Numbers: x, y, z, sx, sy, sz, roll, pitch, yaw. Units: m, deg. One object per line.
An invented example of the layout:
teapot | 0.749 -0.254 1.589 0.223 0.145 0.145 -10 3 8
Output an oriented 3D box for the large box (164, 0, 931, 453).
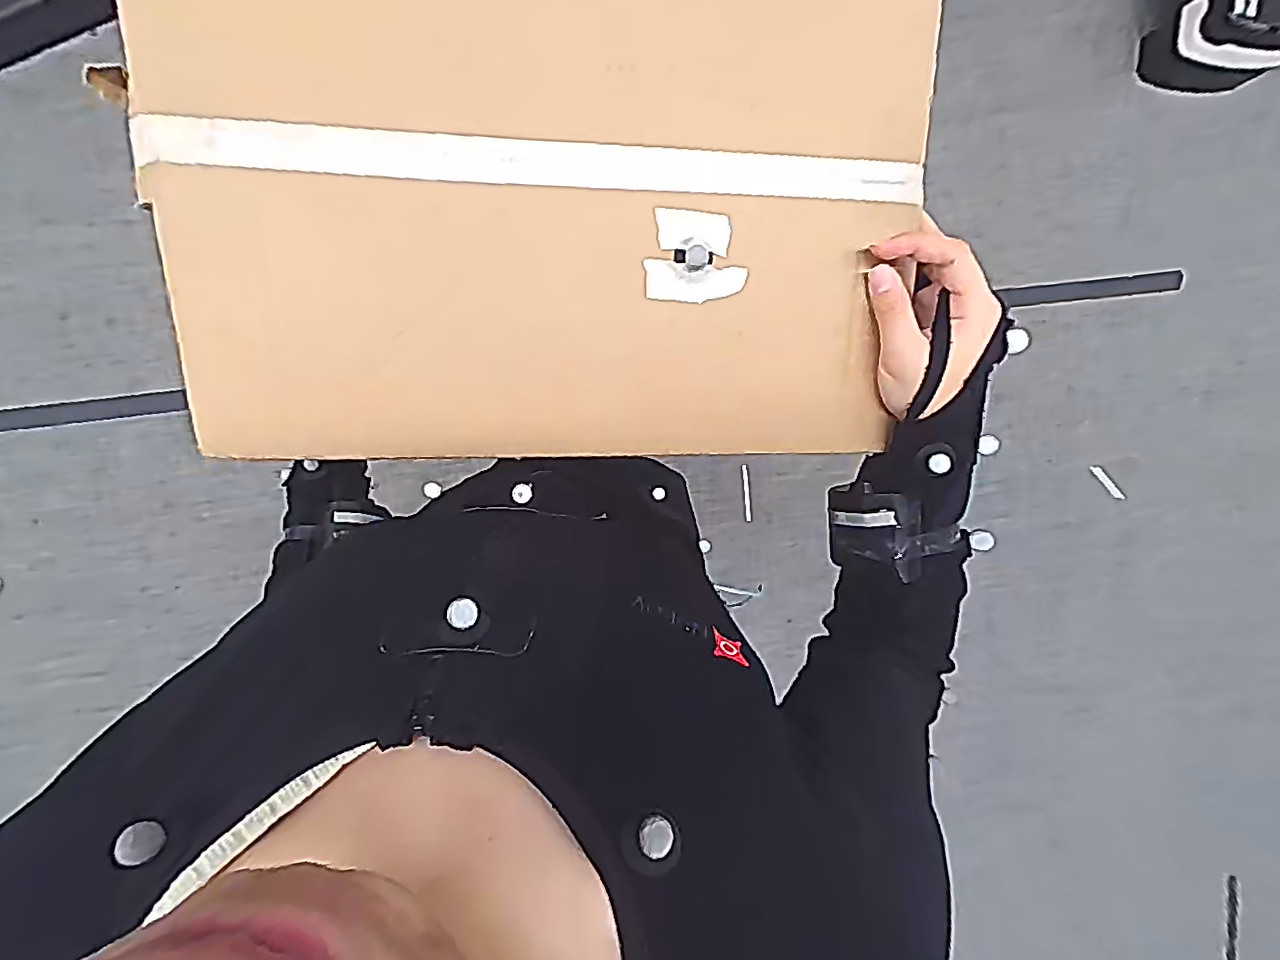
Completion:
large box | -0.056 -0.202 0.441 0.408 0.320 0.320 -1 103 -10
